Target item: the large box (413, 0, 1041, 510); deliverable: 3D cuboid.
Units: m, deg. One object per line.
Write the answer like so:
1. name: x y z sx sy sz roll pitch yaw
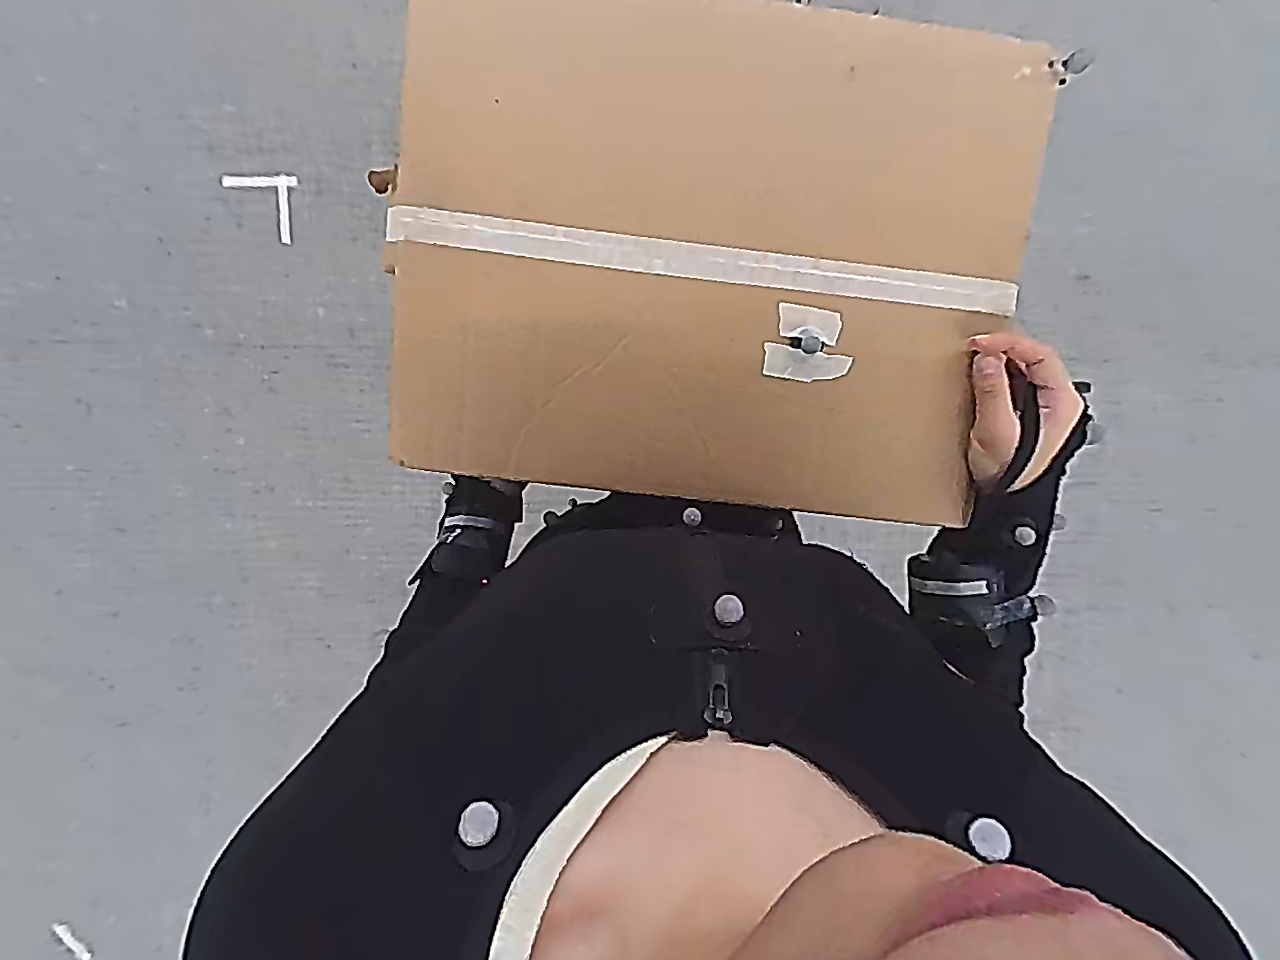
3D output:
1. large box: 0.044 -0.165 0.508 0.408 0.320 0.320 6 99 -4
